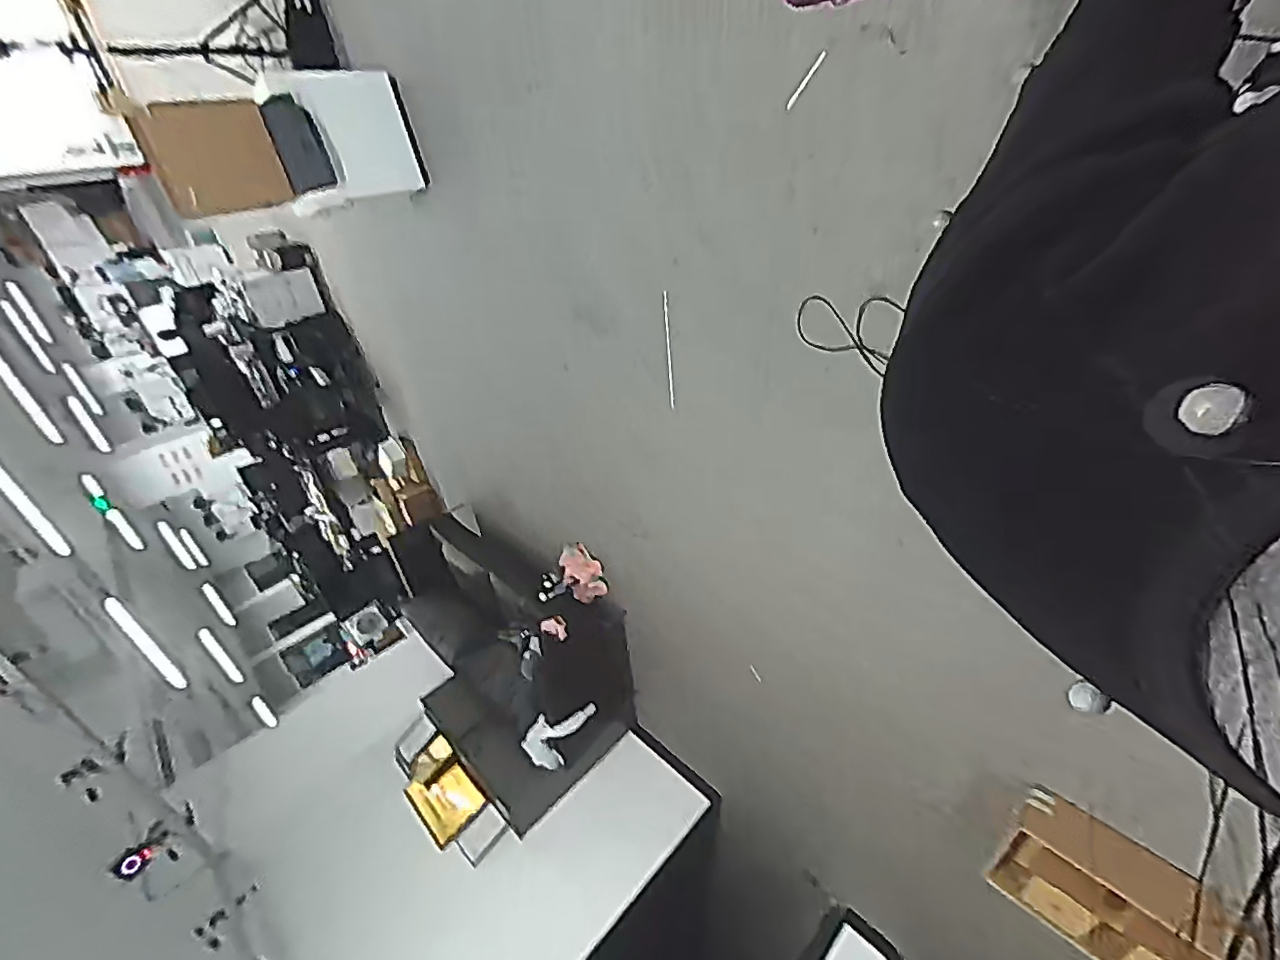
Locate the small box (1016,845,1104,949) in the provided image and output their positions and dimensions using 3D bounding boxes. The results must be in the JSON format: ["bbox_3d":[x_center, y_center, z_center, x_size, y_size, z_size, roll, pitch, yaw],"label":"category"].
[{"bbox_3d":[1.349,1.332,1.733,0.168,0.176,0.179,26,133,37],"label":"small box"}]
